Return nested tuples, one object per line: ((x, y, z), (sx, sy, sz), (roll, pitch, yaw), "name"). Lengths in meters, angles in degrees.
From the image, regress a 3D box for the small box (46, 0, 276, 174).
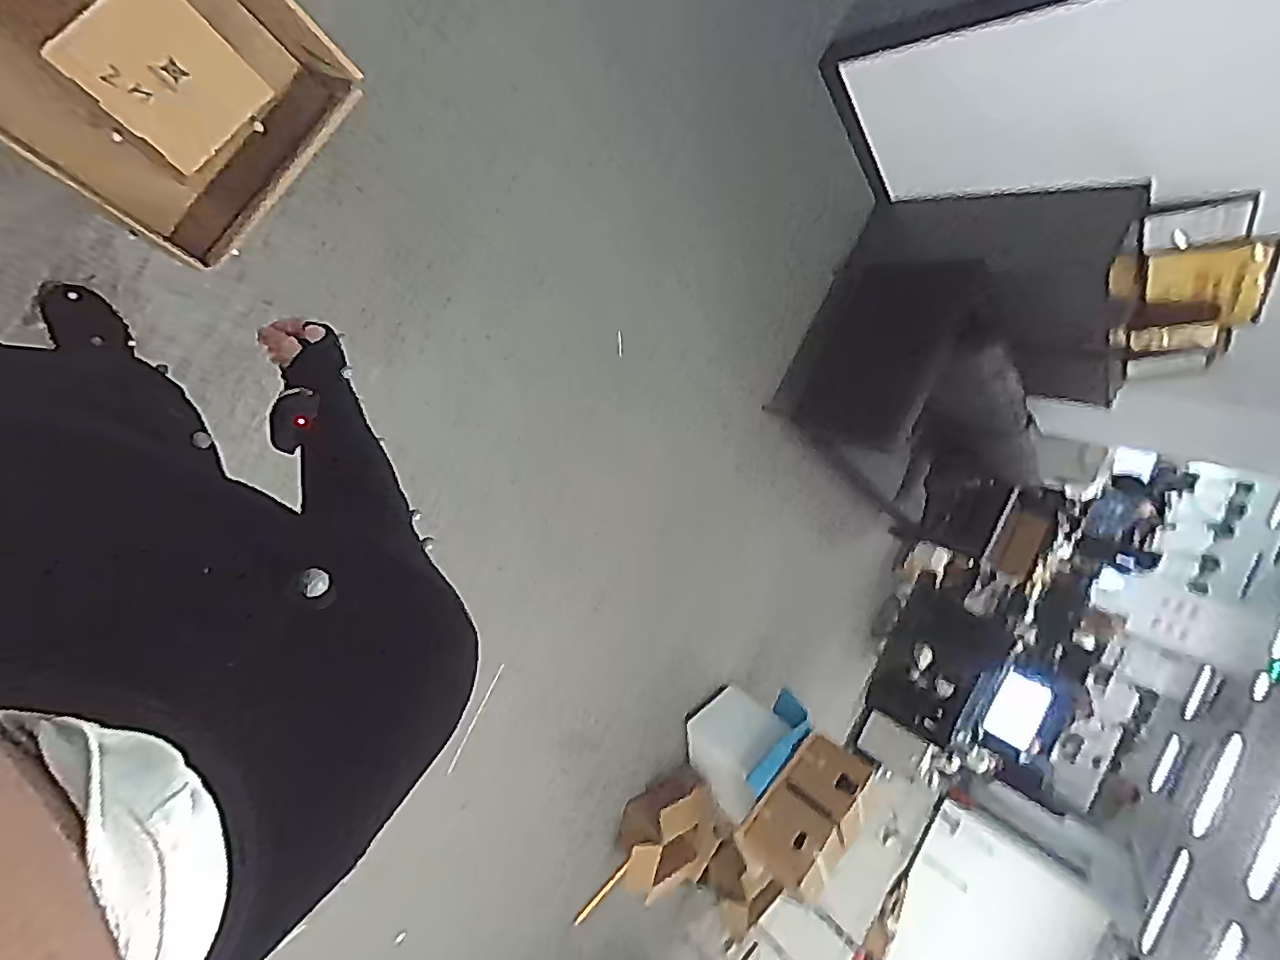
((-0.662, -0.564, 0.761), (0.179, 0.176, 0.168), (-53, 133, -9), "small box")
